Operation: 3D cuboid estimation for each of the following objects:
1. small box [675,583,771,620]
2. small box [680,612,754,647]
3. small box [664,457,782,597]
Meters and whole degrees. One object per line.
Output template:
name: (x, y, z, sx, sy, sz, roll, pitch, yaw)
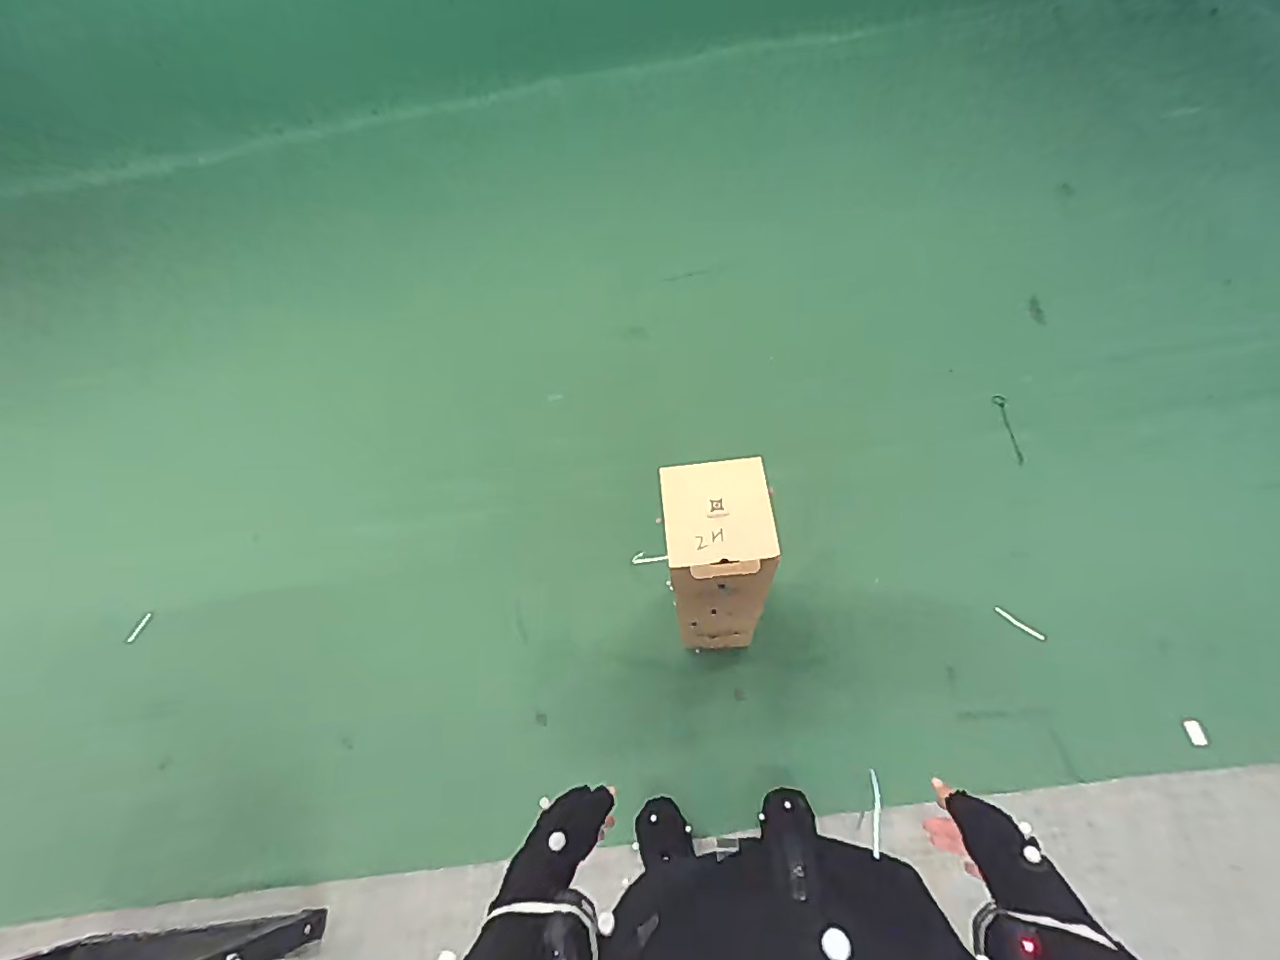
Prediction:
small box: (0.147, 0.160, 1.046, 0.168, 0.176, 0.179, -7, 62, 3)
small box: (0.182, 0.311, 1.334, 0.168, 0.176, 0.179, -8, 64, 3)
small box: (0.129, 0.083, 0.901, 0.168, 0.176, 0.179, -6, 63, 4)
